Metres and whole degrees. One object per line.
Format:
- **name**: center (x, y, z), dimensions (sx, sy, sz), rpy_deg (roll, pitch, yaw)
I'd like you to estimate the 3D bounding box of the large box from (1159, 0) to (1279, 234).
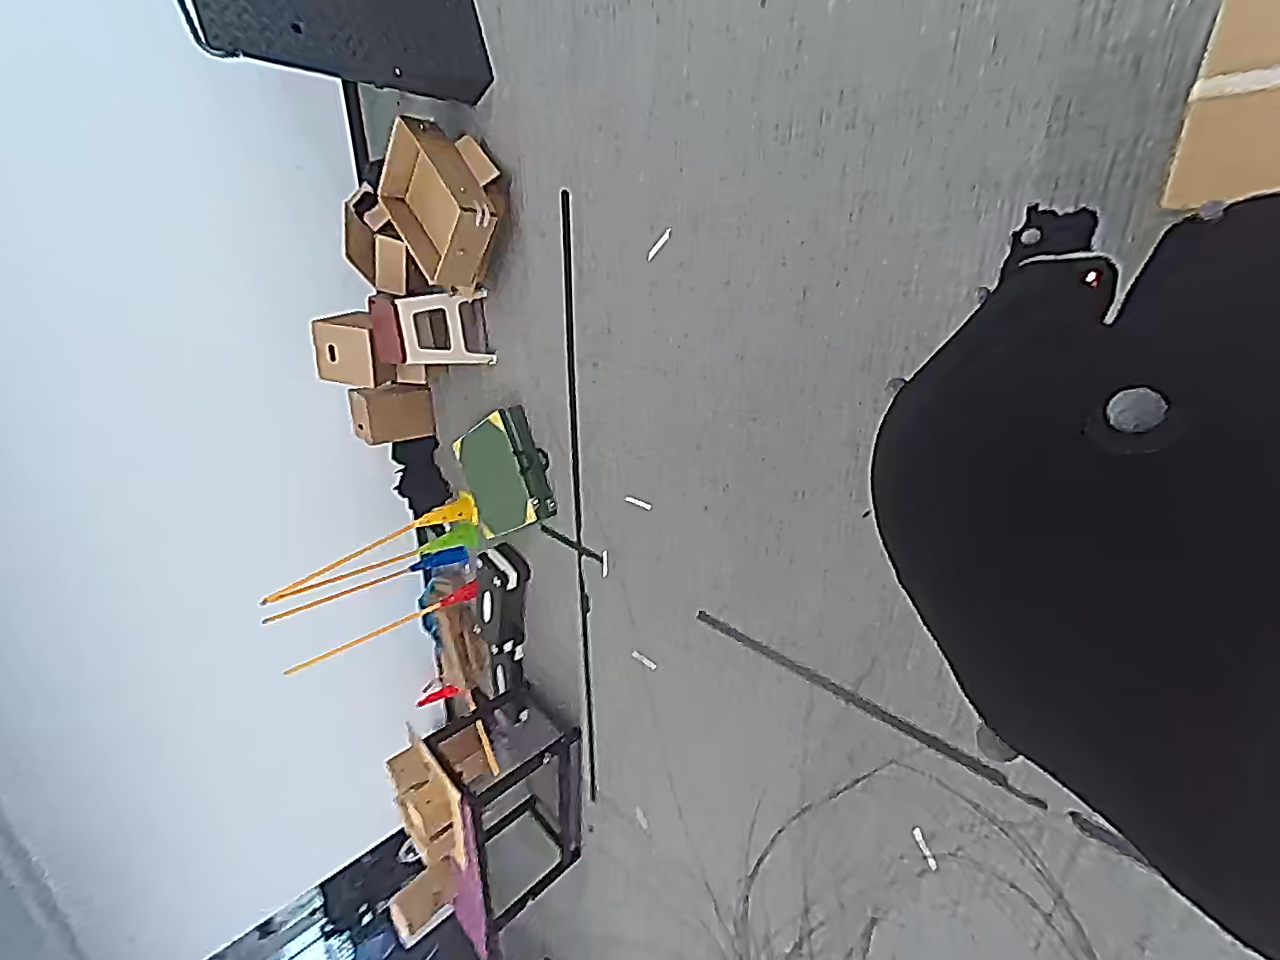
- **large box**: center (1.044, -0.536, 0.757), dimensions (0.408, 0.320, 0.320), rpy_deg (19, 118, 41)
